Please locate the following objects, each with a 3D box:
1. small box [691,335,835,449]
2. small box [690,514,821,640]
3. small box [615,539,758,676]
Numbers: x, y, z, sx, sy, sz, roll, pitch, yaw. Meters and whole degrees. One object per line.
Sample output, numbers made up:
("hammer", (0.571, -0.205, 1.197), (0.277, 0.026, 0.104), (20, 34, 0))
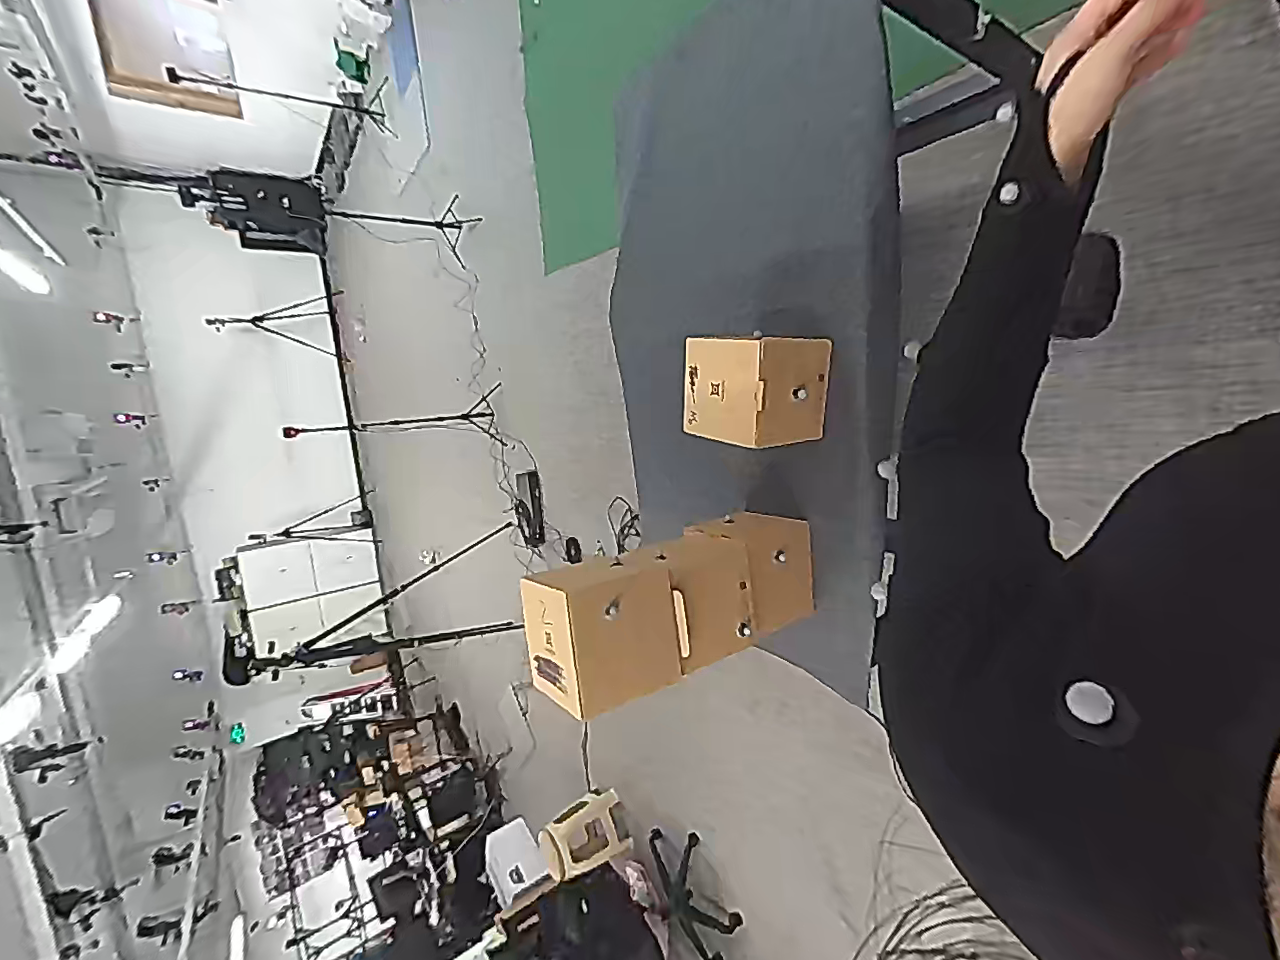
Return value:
("small box", (0.206, -0.158, 0.918), (0.179, 0.176, 0.168), (21, 116, 51))
("small box", (0.214, 0.165, 0.998), (0.168, 0.176, 0.179), (6, 104, 56))
("small box", (0.083, 0.200, 0.906), (0.179, 0.176, 0.168), (-2, 97, 57))
